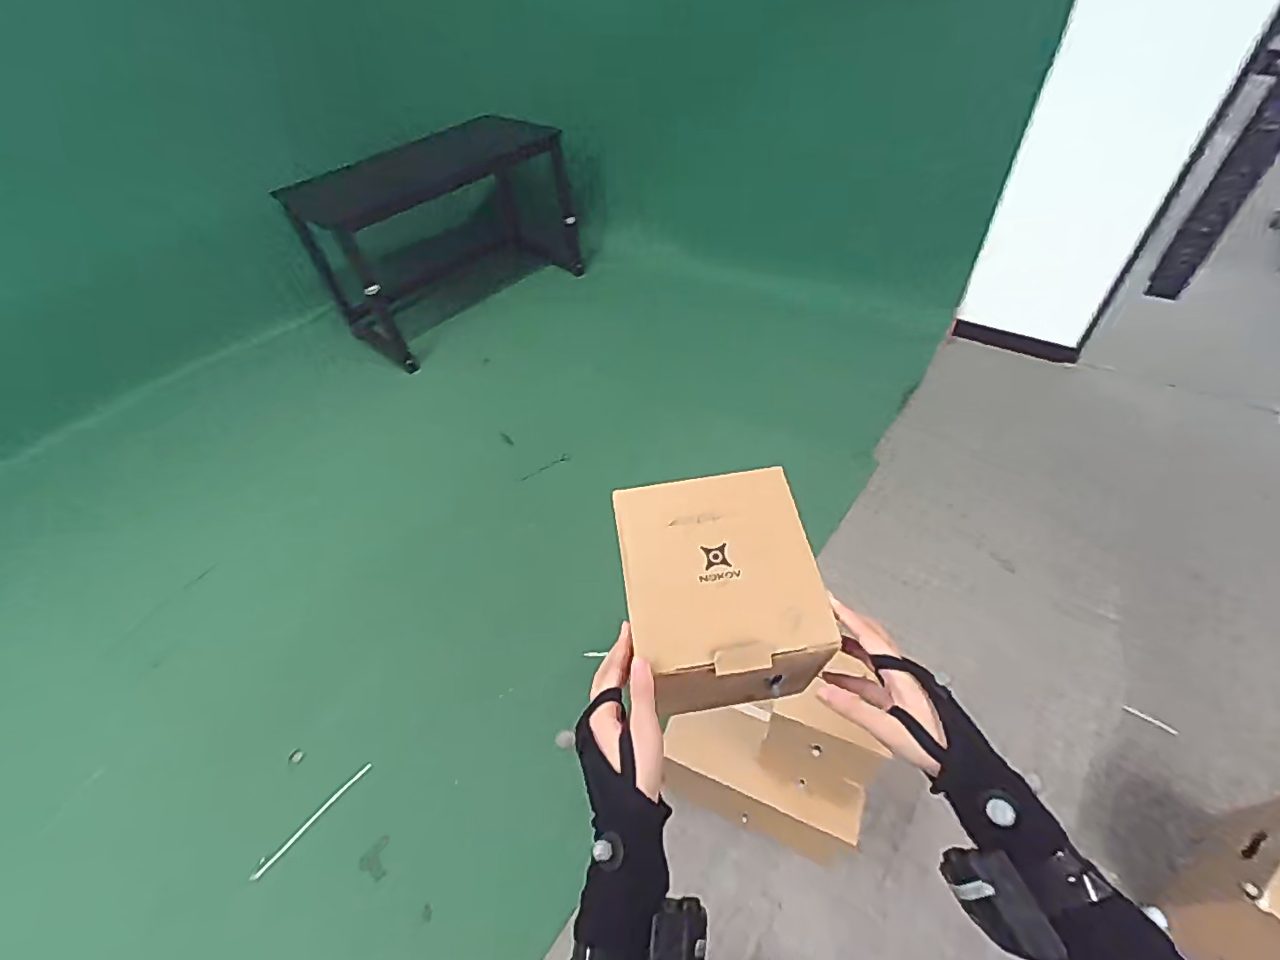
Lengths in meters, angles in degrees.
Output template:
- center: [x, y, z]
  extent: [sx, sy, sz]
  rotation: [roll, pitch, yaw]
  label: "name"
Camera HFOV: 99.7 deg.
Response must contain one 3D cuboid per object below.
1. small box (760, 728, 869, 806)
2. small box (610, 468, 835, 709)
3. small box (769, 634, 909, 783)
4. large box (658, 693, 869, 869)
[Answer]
- center: [0.341, 0.486, 1.023]
  extent: [0.179, 0.176, 0.168]
  rotation: [20, 53, 23]
  label: "small box"
- center: [0.067, 0.114, 0.531]
  extent: [0.168, 0.176, 0.179]
  rotation: [-8, 56, -2]
  label: "small box"
- center: [0.325, 0.377, 0.901]
  extent: [0.179, 0.176, 0.168]
  rotation: [15, 52, 22]
  label: "small box"
- center: [0.296, 0.617, 1.243]
  extent: [0.408, 0.320, 0.320]
  rotation: [15, 50, 21]
  label: "large box"
